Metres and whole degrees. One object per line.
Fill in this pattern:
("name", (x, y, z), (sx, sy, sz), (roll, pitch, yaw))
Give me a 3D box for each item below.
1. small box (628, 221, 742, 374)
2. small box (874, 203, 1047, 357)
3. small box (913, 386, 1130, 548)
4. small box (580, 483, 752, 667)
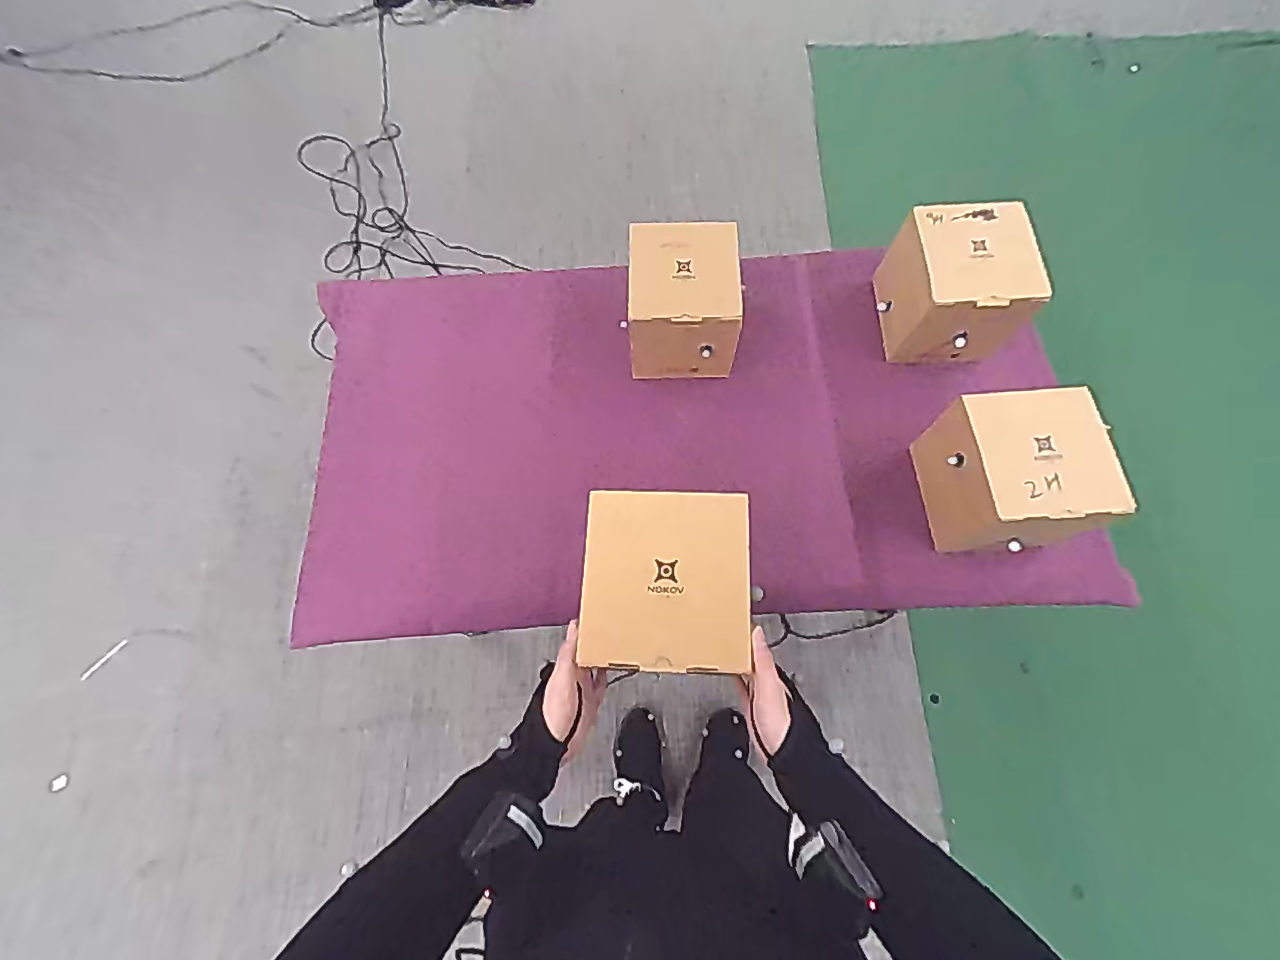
("small box", (0.069, -0.285, 0.871), (0.168, 0.176, 0.179), (0, 71, 1))
("small box", (0.495, -0.307, 0.864), (0.168, 0.176, 0.179), (-2, 73, 1))
("small box", (0.509, -0.011, 0.756), (0.168, 0.176, 0.179), (-3, 70, 2))
("small box", (0.032, 0.114, 0.611), (0.168, 0.176, 0.179), (2, 72, 4))
